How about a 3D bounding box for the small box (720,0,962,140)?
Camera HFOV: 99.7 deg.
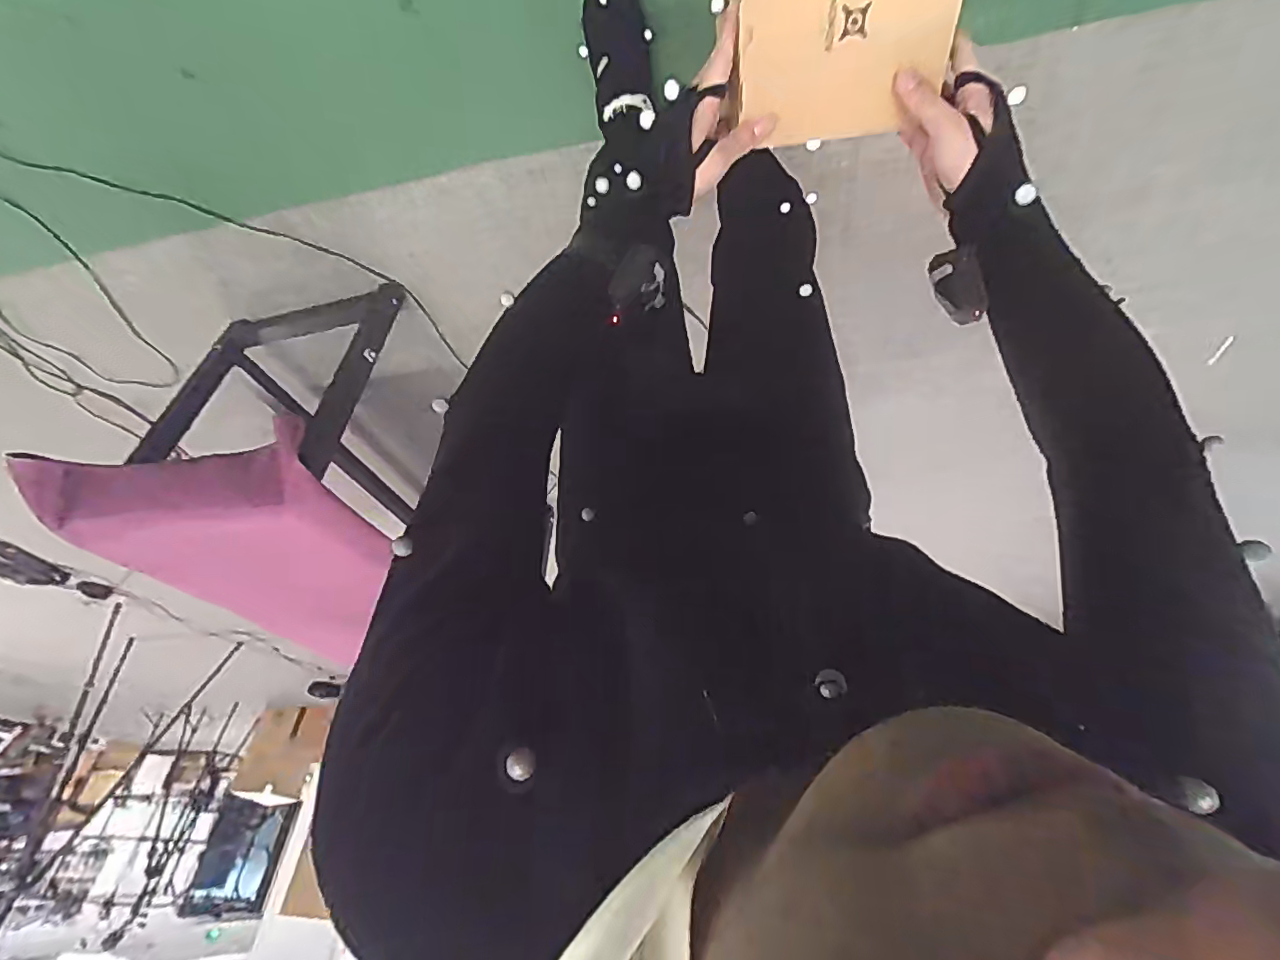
[{"bbox_3d":[0.170,-0.432,0.489,0.179,0.176,0.168,-4,135,5],"label":"small box"}]
